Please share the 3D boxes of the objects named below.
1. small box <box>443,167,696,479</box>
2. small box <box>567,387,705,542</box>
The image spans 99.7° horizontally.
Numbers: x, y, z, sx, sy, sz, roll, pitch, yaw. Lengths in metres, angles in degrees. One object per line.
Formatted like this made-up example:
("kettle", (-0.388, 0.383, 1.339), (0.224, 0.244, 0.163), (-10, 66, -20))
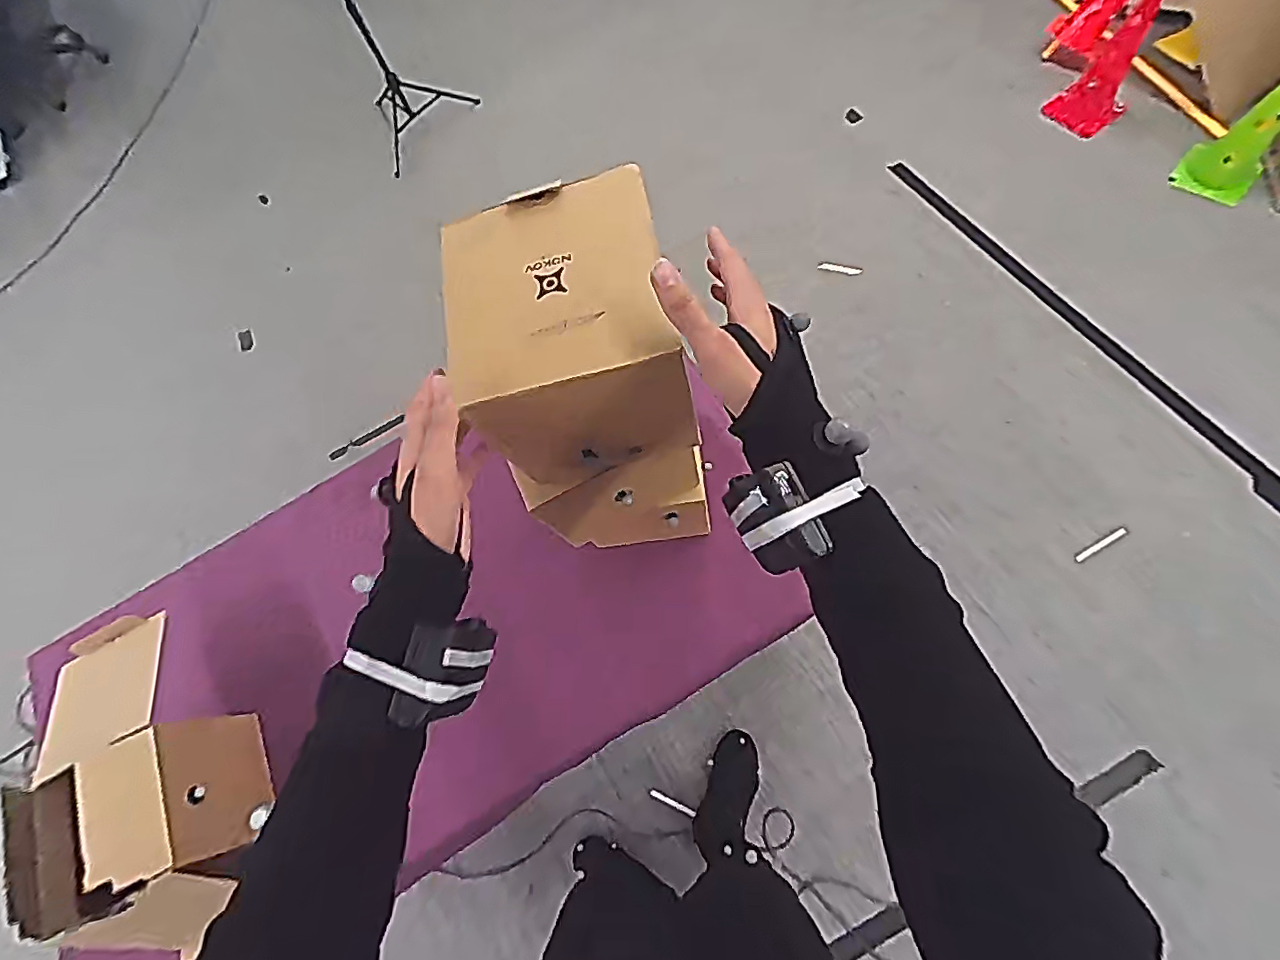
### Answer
("small box", (-0.052, -0.119, 0.467), (0.168, 0.176, 0.179), (-12, 70, 7))
("small box", (0.000, -0.014, 0.774), (0.179, 0.176, 0.168), (-7, 69, 7))
